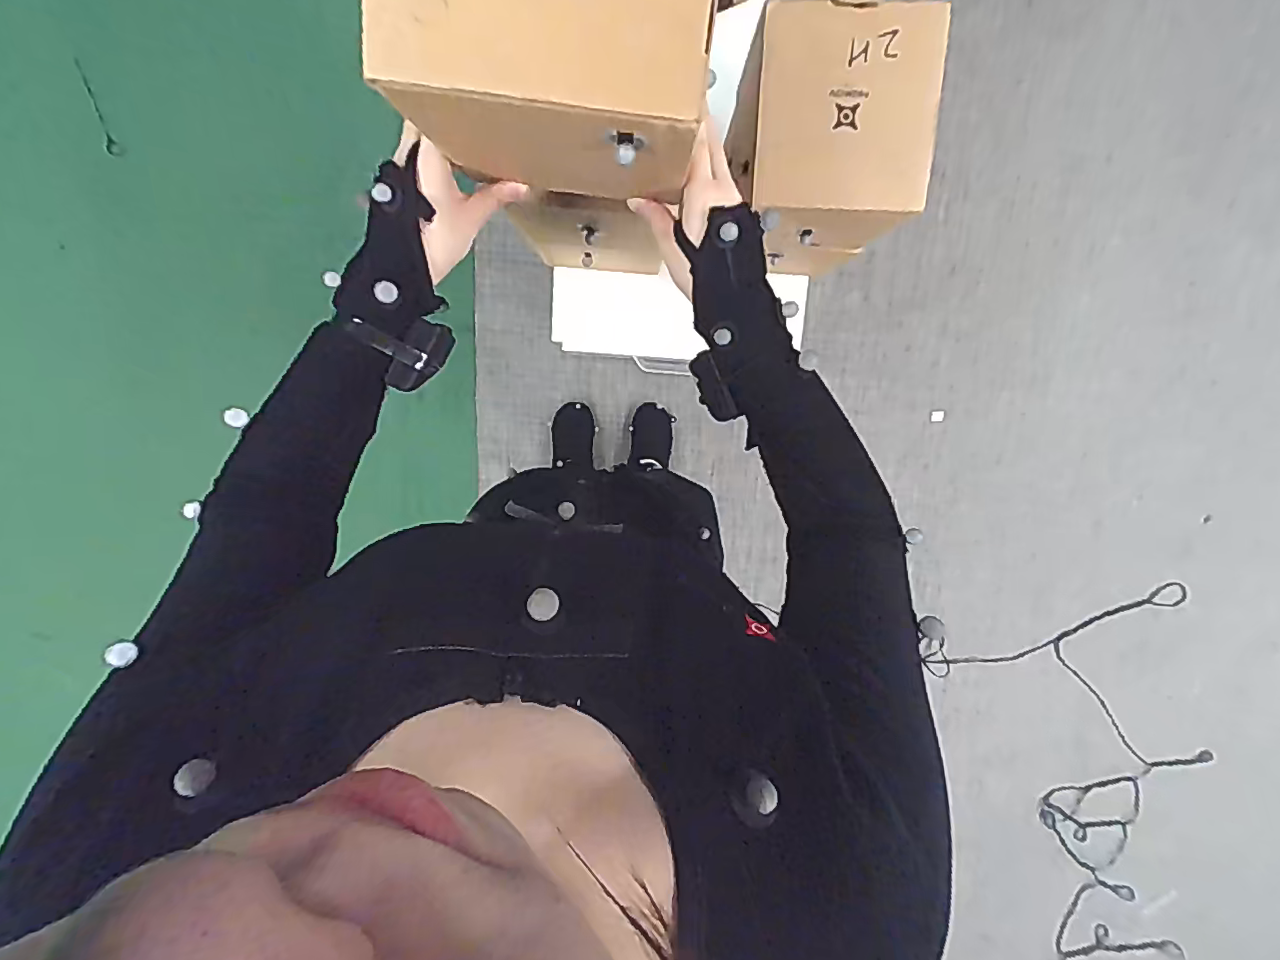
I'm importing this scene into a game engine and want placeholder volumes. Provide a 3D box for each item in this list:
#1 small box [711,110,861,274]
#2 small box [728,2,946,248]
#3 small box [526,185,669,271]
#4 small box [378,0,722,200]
[{"bbox_3d":[0.197,-0.387,0.743,0.179,0.176,0.168,4,102,-1],"label":"small box"},{"bbox_3d":[0.191,-0.358,0.581,0.168,0.176,0.179,2,101,0],"label":"small box"},{"bbox_3d":[-0.050,-0.390,0.741,0.179,0.176,0.168,4,102,-2],"label":"small box"},{"bbox_3d":[-0.042,-0.296,0.345,0.179,0.176,0.168,6,103,-3],"label":"small box"}]
